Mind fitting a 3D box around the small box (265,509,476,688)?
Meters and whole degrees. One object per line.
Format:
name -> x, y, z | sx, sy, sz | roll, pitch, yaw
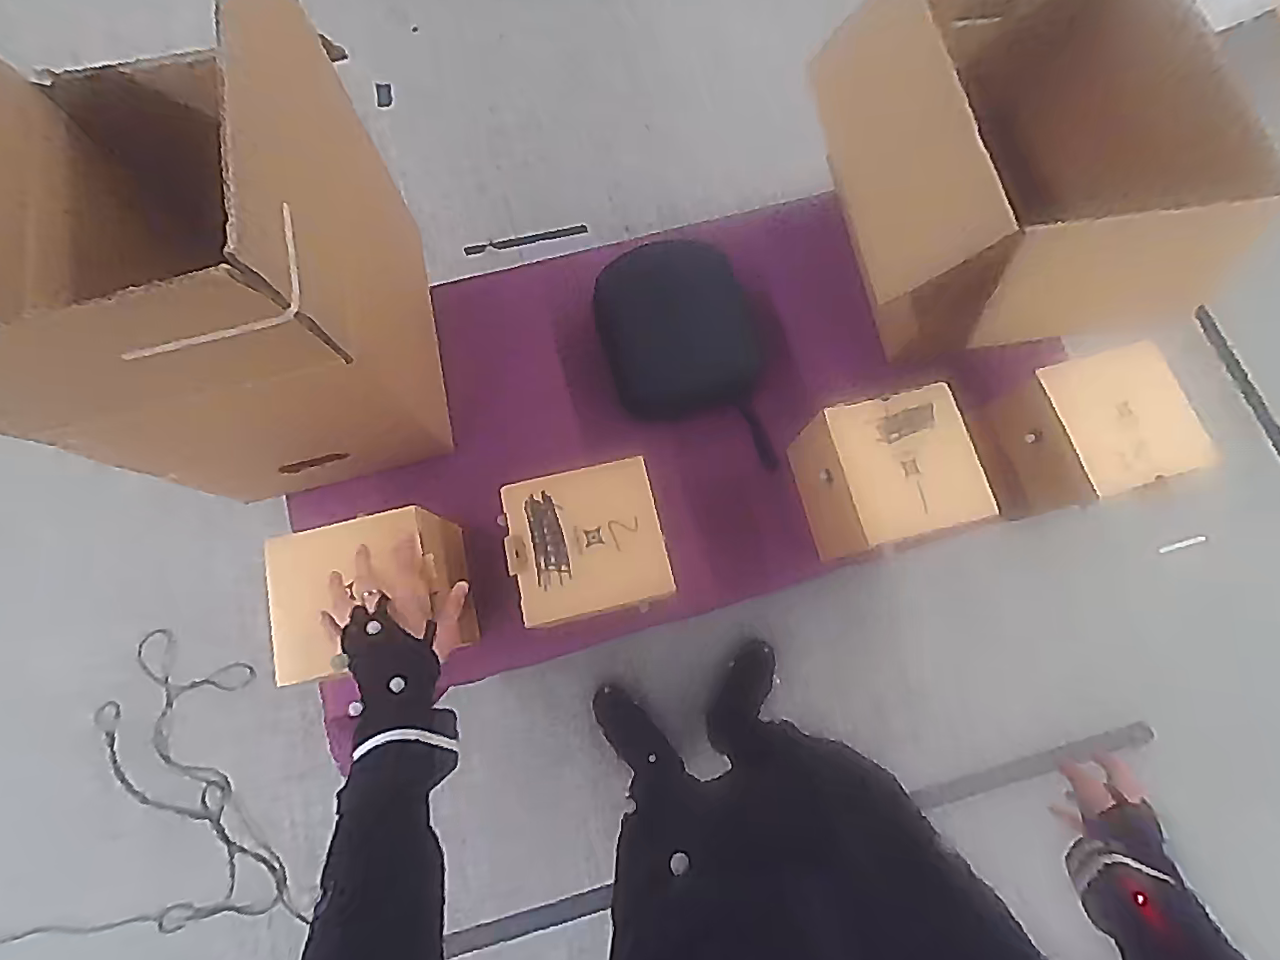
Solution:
small box -> -0.326, 0.150, 0.680 | 0.179, 0.176, 0.168 | -14, 76, -6
